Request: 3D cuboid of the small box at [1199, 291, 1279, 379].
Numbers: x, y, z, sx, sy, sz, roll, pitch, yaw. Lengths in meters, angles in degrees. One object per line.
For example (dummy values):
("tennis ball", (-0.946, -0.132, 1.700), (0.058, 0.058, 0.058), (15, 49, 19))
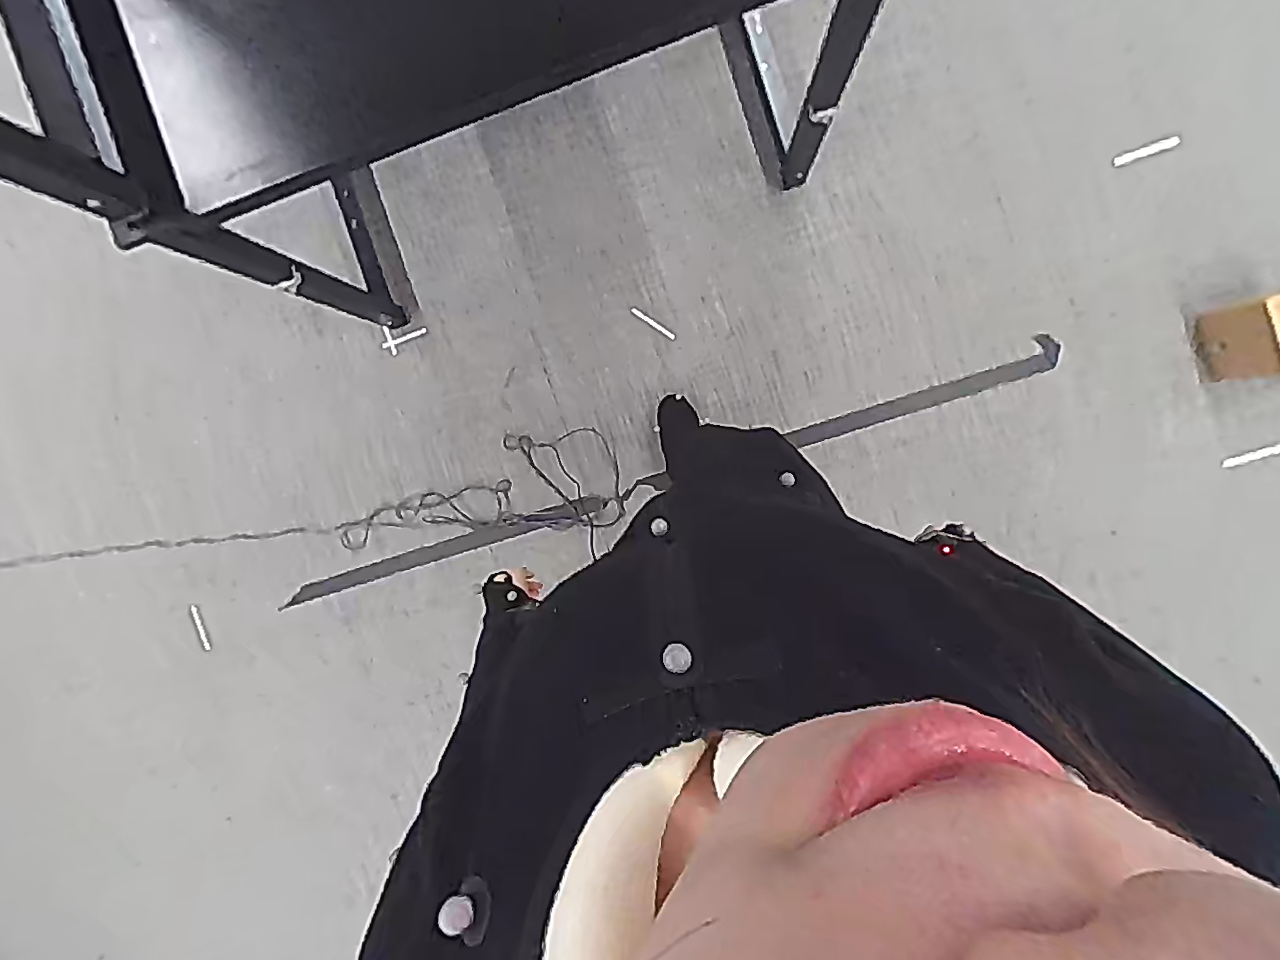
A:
("small box", (1.464, -0.339, 1.244), (0.168, 0.176, 0.179), (-18, 94, 6))
